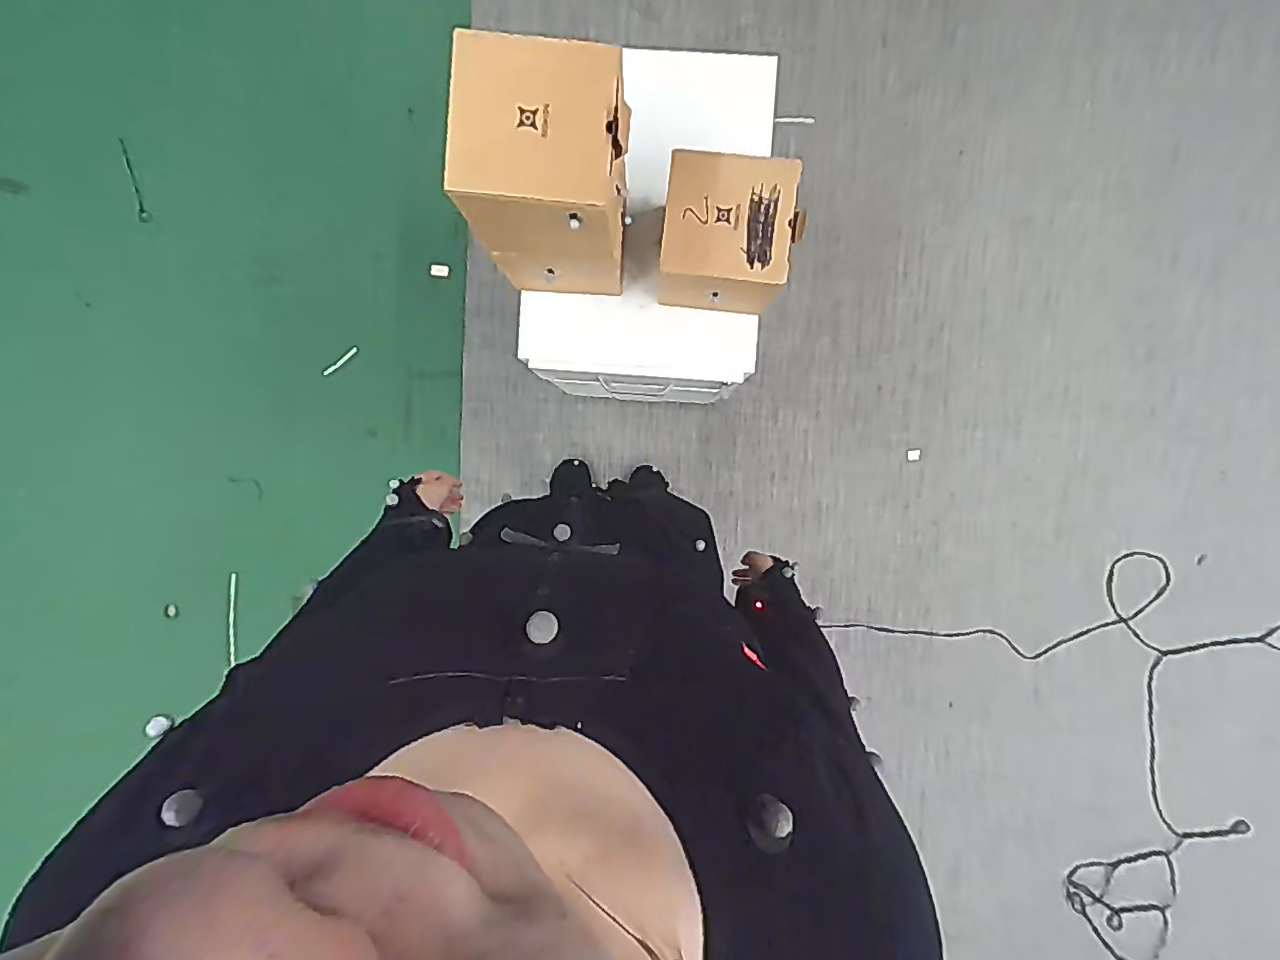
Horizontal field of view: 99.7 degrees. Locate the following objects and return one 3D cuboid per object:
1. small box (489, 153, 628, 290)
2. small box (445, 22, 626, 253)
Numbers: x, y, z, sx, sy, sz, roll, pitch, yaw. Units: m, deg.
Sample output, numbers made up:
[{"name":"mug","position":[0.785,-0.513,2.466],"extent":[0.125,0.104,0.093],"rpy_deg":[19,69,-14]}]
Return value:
[{"name":"small box","position":[-0.112,-0.392,0.805],"extent":[0.179,0.176,0.168],"rpy_deg":[3,93,0]},{"name":"small box","position":[-0.111,-0.386,0.642],"extent":[0.179,0.176,0.168],"rpy_deg":[5,92,-2]}]
